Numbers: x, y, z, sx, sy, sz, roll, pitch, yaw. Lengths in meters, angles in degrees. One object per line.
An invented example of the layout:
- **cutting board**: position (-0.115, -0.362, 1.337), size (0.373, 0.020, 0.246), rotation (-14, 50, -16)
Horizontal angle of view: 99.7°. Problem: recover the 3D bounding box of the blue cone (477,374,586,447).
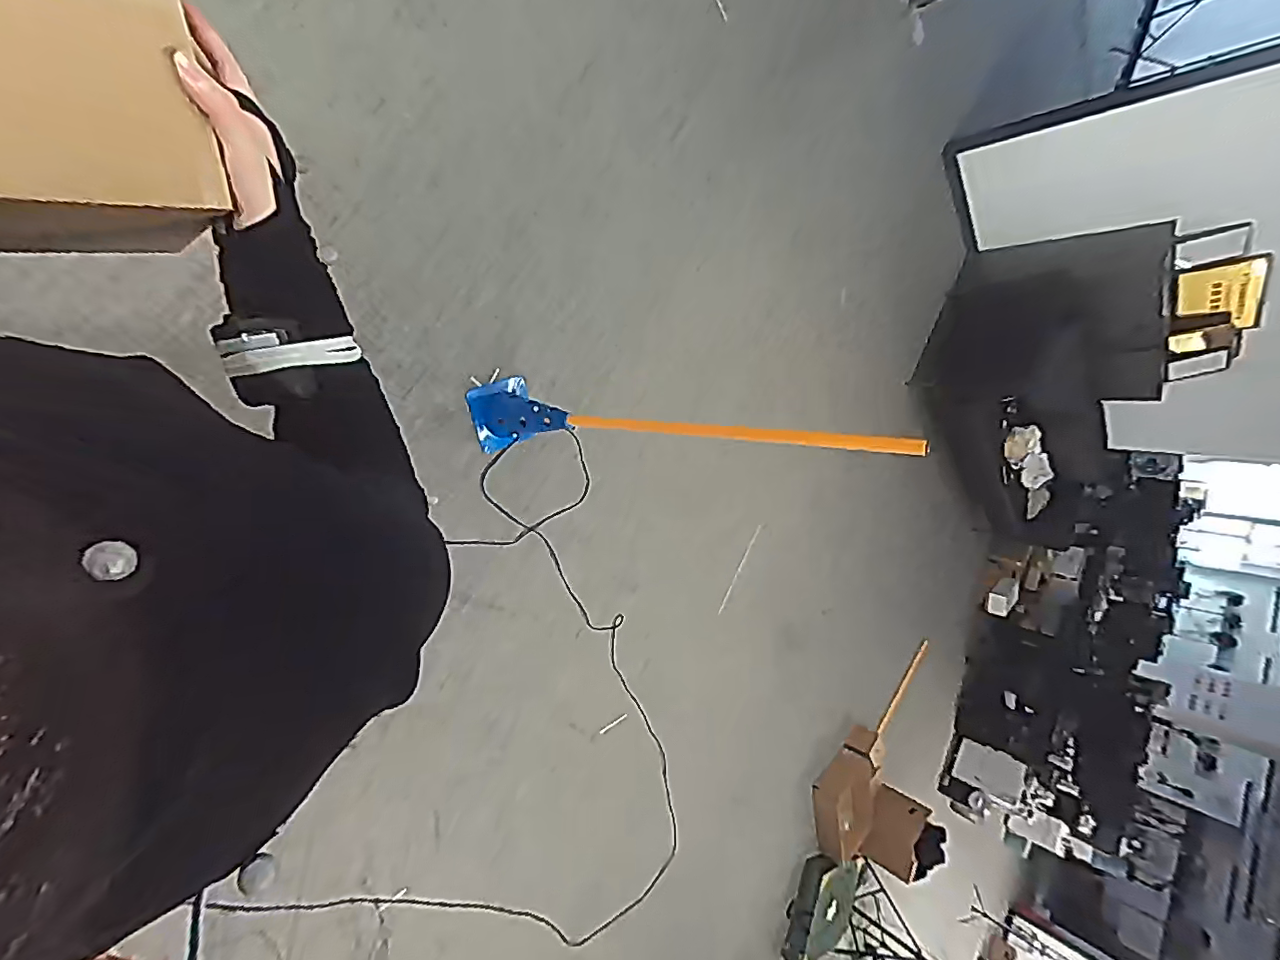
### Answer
- **blue cone**: position (-0.286, -0.192, 1.530), size (0.192, 0.380, 0.193), rotation (-31, 116, -36)
